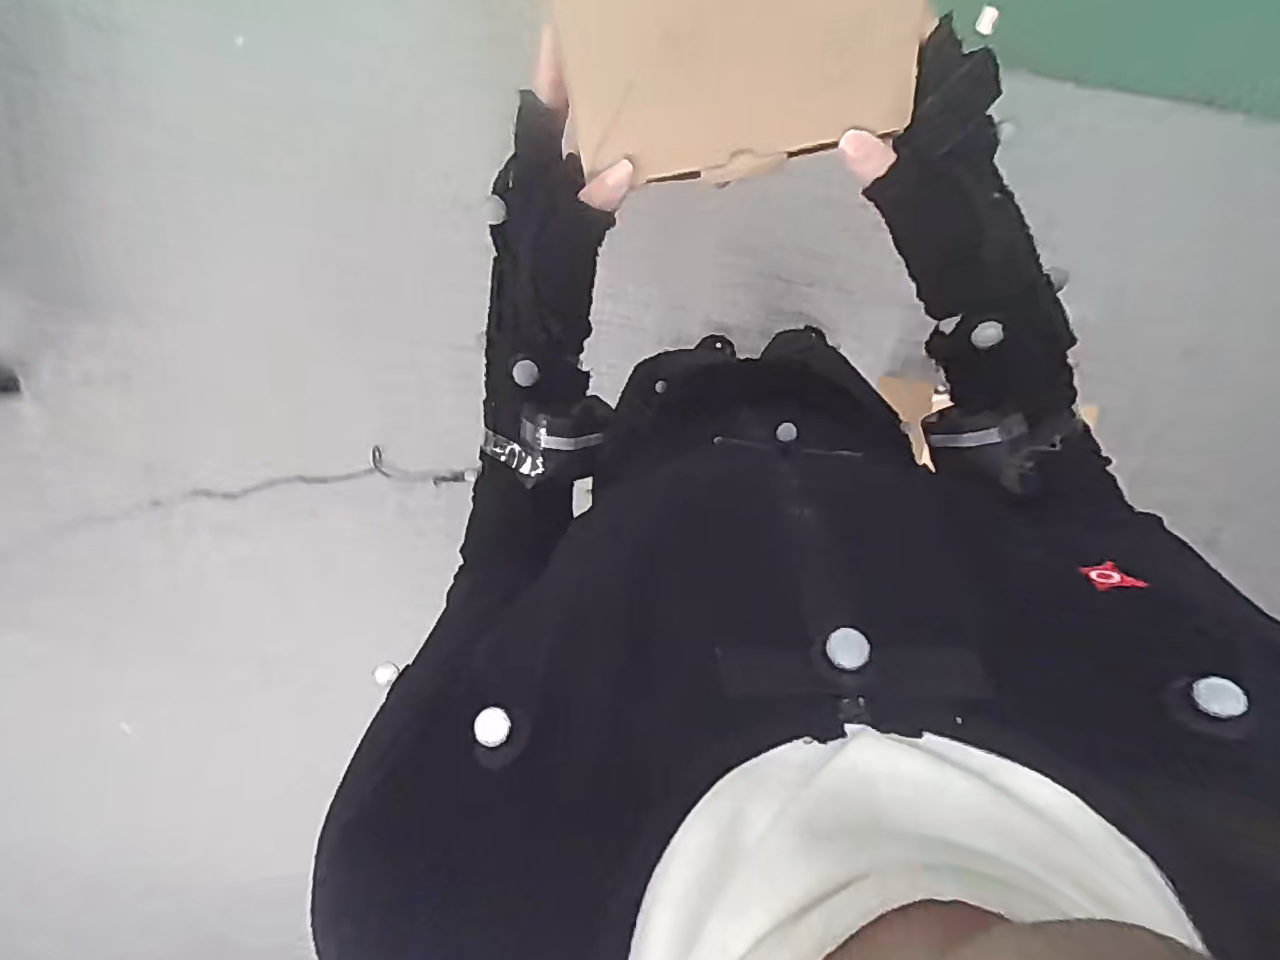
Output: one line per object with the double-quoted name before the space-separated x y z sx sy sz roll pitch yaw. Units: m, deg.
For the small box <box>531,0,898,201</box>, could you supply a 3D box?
"small box" 0.030 -0.277 0.298 0.168 0.176 0.179 -10 124 6
